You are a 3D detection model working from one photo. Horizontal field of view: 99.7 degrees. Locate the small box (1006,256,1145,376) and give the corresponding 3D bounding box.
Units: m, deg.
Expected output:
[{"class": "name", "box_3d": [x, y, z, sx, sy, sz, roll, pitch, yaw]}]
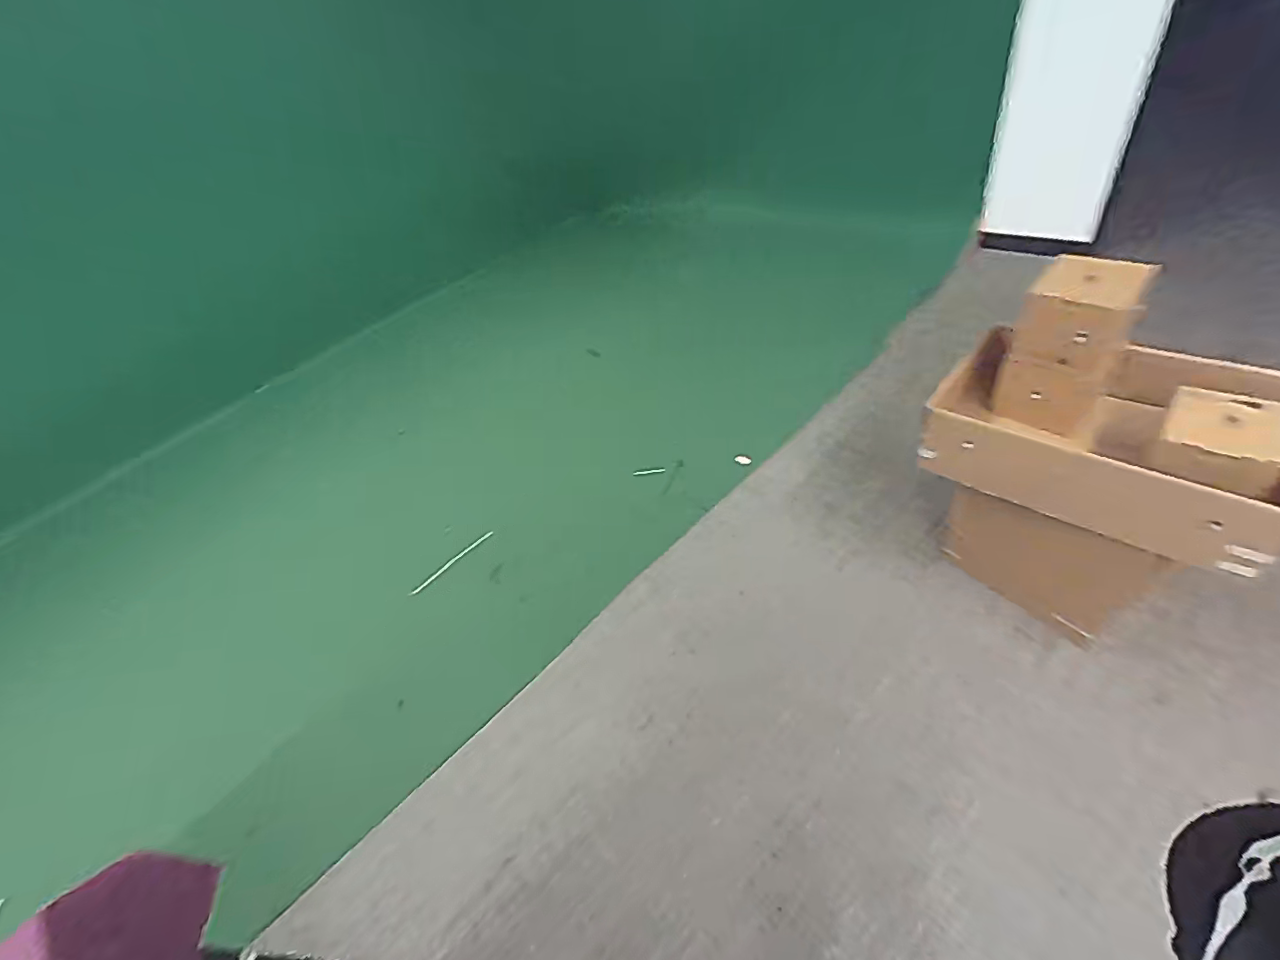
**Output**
[{"class": "small box", "box_3d": [0.920, -0.350, 1.160, 0.179, 0.176, 0.168, -40, 49, -22]}]
